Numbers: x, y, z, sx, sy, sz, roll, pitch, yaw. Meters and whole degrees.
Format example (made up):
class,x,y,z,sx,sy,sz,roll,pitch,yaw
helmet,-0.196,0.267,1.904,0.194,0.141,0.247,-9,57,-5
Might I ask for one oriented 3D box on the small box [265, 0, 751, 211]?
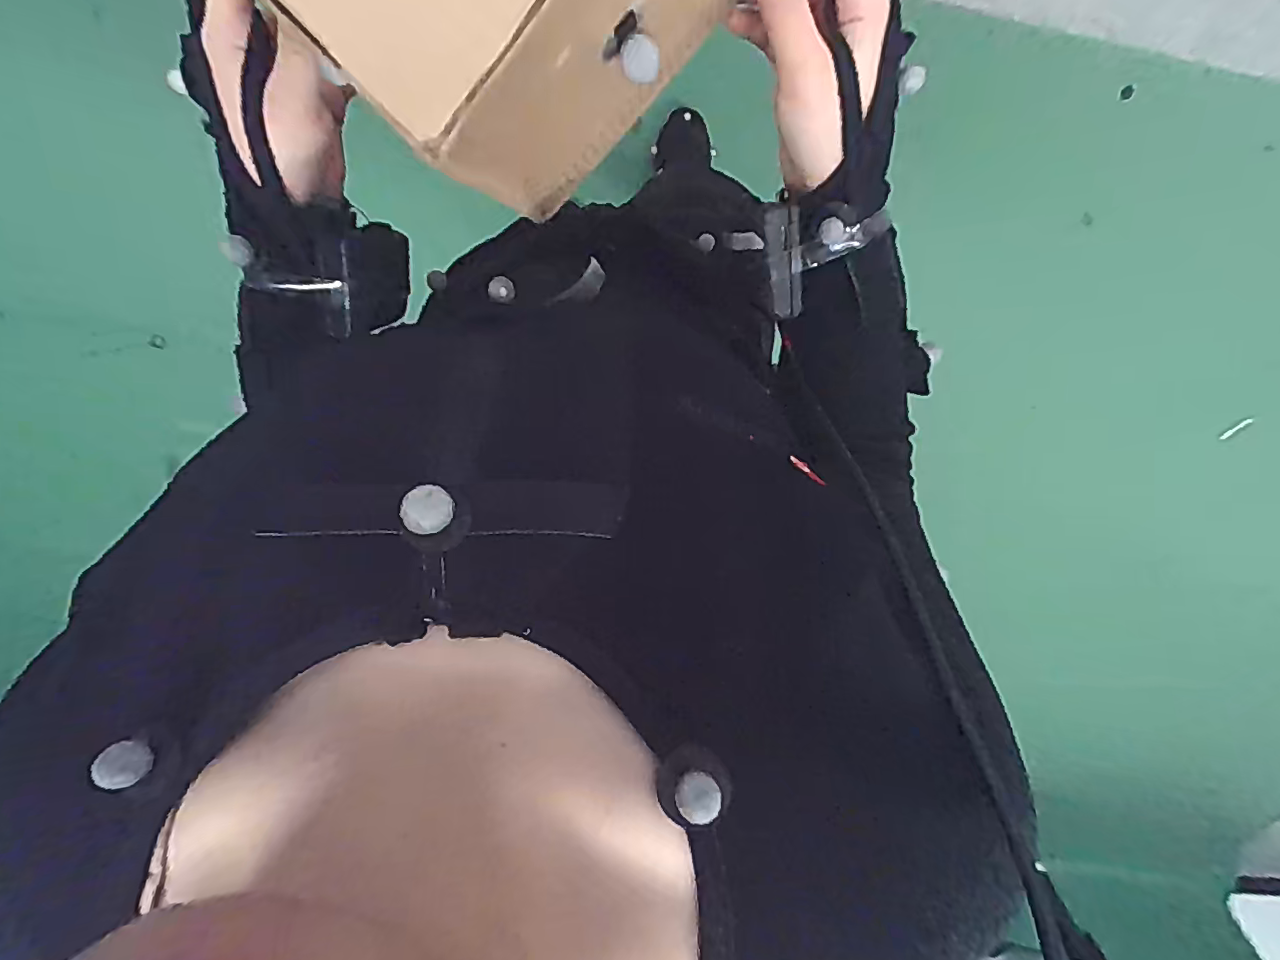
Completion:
class,x,y,z,sx,sy,sz,roll,pitch,yaw
small box,-0.046,-0.223,0.184,0.179,0.176,0.168,-42,103,15
